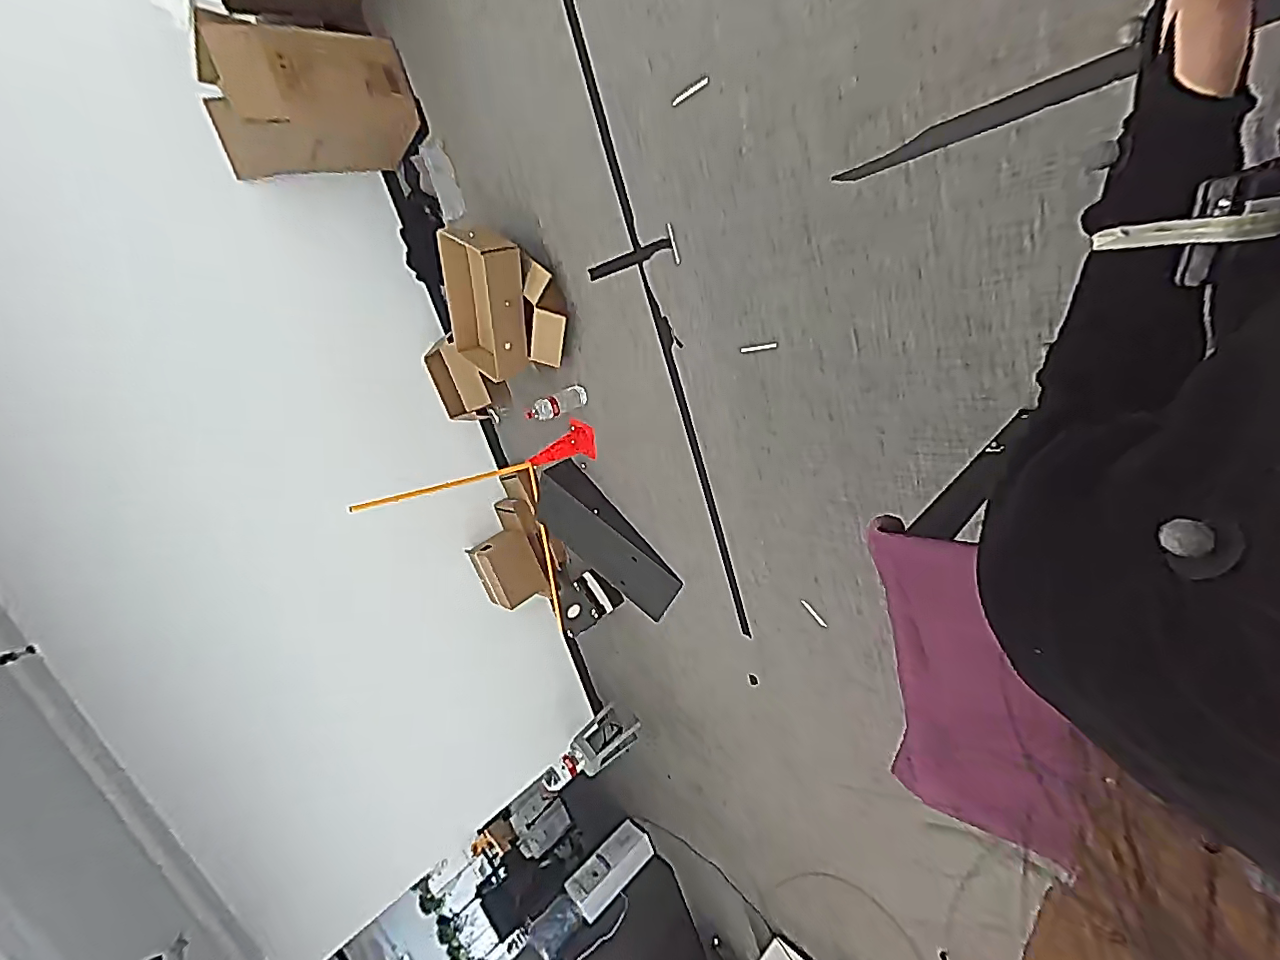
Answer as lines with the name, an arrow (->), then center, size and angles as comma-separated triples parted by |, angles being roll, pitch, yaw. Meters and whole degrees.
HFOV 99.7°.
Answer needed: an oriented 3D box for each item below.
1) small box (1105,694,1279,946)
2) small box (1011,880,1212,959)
small box -> 0.687, 0.386, 0.640 | 0.179, 0.176, 0.168 | 3, 117, 51
small box -> 0.436, 0.520, 0.475 | 0.168, 0.176, 0.179 | 3, 117, 52
